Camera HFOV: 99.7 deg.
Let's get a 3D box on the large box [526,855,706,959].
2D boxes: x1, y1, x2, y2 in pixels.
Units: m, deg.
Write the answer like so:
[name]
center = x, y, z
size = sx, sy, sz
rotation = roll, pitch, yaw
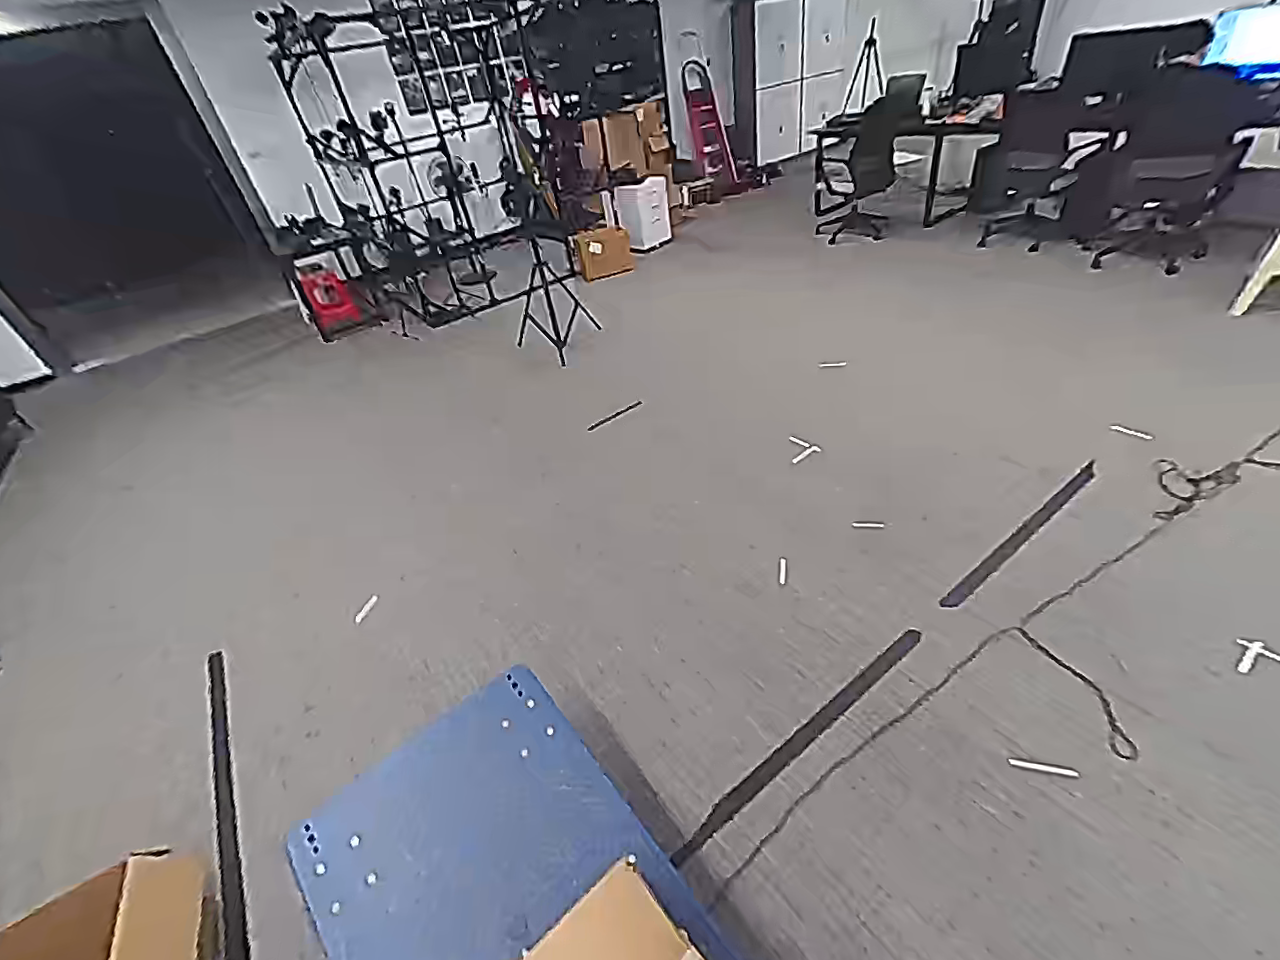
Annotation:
[large box]
center = -0.072, 0.882, 0.819
size = 0.408, 0.320, 0.320
rotation = -33, 60, -27
